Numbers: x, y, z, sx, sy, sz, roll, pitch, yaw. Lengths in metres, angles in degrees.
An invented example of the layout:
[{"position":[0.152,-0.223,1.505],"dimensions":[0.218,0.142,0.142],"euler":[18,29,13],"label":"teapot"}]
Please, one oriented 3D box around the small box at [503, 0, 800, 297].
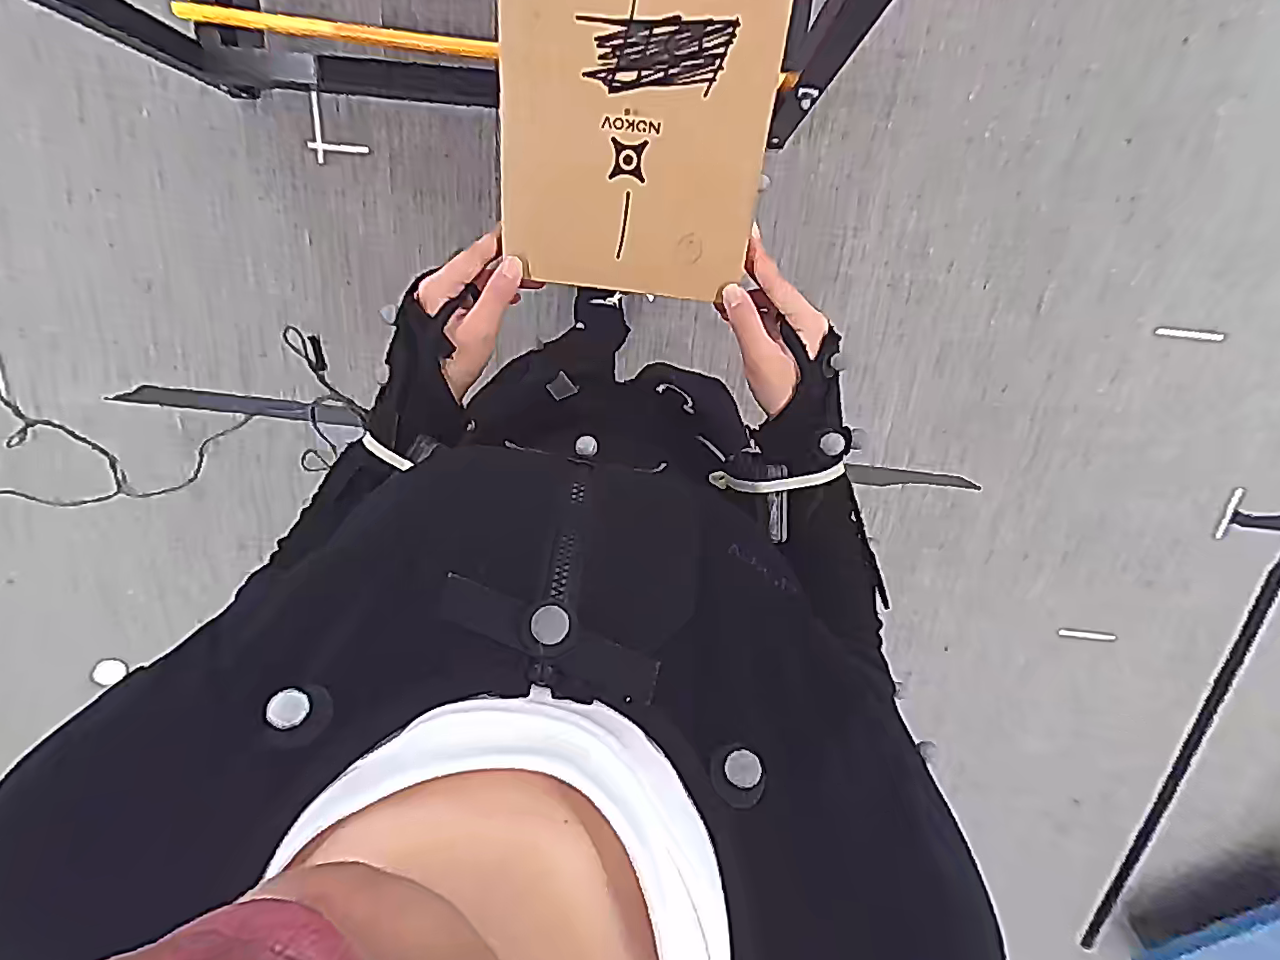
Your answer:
[{"position":[0.003,-0.246,0.401],"dimensions":[0.168,0.176,0.179],"euler":[8,116,1],"label":"small box"}]
